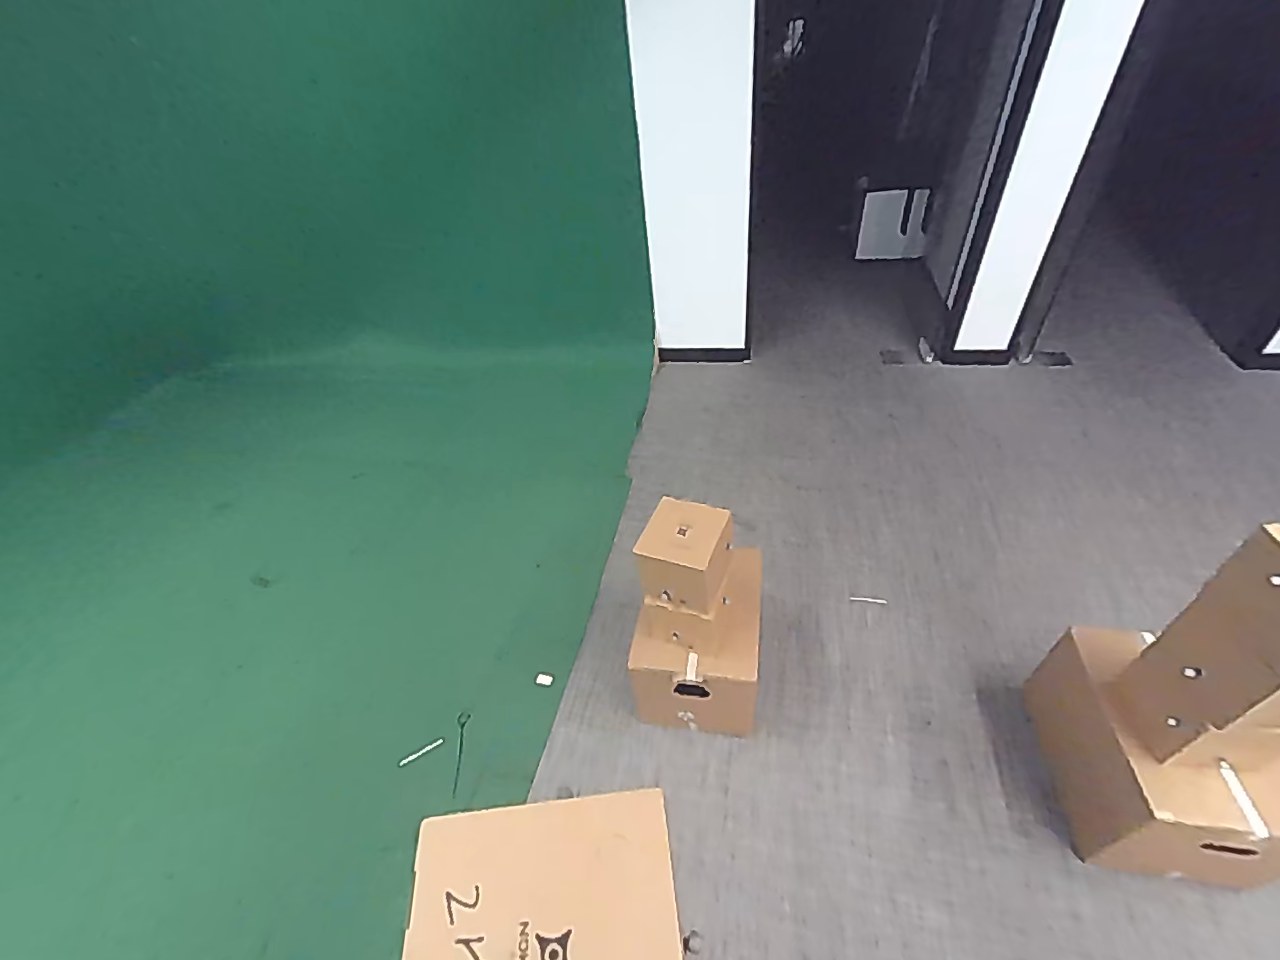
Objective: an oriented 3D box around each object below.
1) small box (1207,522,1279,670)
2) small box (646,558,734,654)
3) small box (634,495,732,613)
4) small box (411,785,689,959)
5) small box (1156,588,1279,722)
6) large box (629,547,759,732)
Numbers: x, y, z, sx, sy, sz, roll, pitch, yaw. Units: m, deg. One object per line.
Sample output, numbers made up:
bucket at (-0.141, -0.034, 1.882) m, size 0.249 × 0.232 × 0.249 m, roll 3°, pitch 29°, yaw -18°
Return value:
small box at (1.035, 0.178, 0.811) m, size 0.168 × 0.176 × 0.179 m, roll -5°, pitch 43°, yaw 6°
small box at (0.127, 0.291, 1.319) m, size 0.168 × 0.176 × 0.179 m, roll 10°, pitch 46°, yaw 21°
small box at (0.104, 0.165, 1.217) m, size 0.168 × 0.176 × 0.179 m, roll 12°, pitch 47°, yaw 23°
small box at (-0.054, 0.342, 0.403) m, size 0.179 × 0.176 × 0.168 m, roll -7°, pitch 50°, yaw -1°
small box at (1.057, 0.300, 0.920) m, size 0.168 × 0.176 × 0.179 m, roll -4°, pitch 43°, yaw 7°
large box at (0.171, 0.434, 1.518) m, size 0.320 × 0.320 × 0.408 m, roll 3°, pitch 43°, yaw 12°
